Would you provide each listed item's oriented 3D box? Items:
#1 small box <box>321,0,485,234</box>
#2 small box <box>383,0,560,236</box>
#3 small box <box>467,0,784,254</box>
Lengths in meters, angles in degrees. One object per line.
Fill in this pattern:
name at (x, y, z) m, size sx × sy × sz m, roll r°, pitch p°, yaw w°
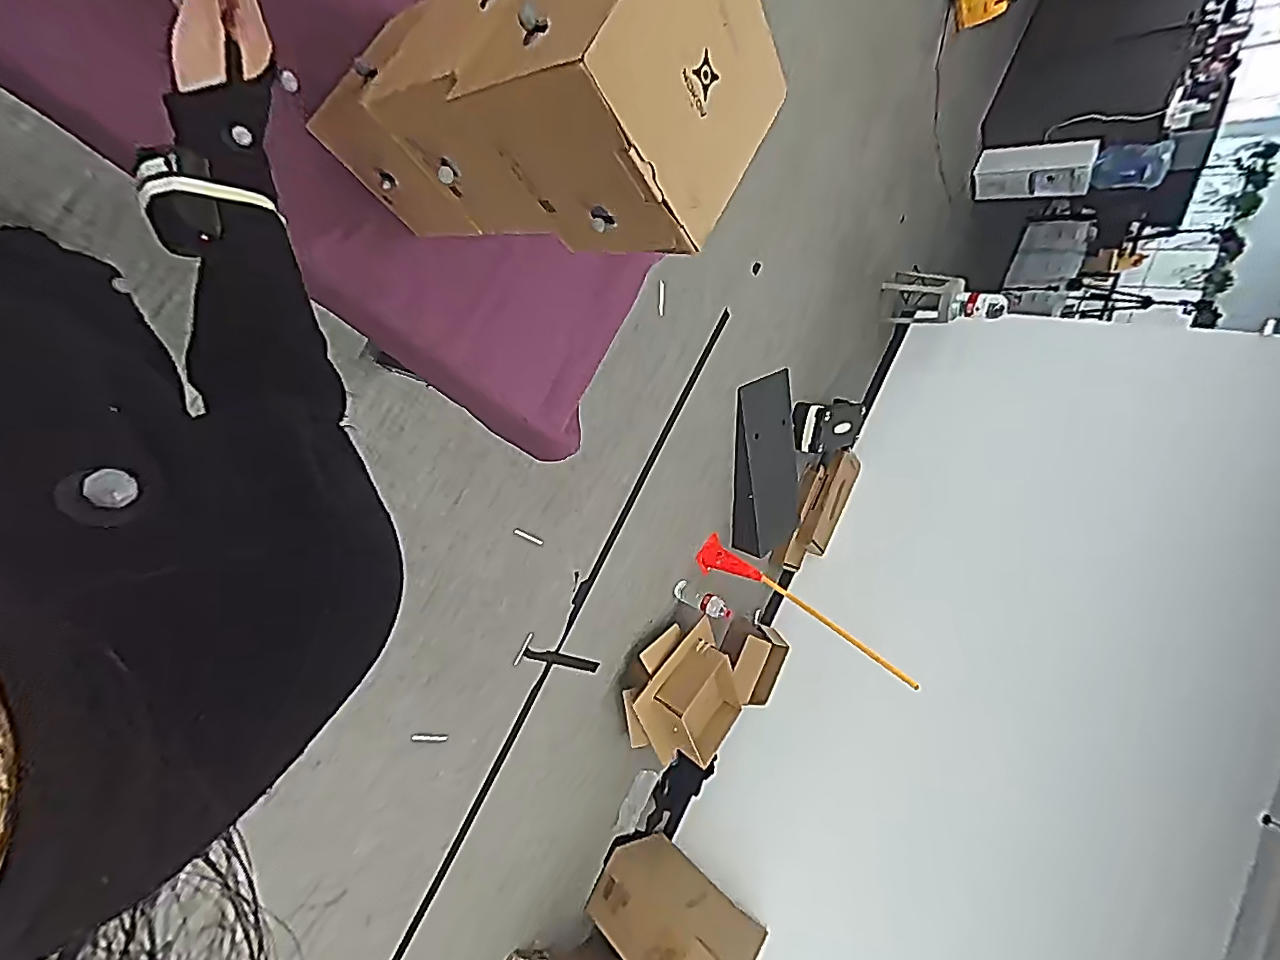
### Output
small box at (-0.246, -0.421, 0.650) m, size 0.168 × 0.176 × 0.179 m, roll 42°, pitch 73°, yaw -50°
small box at (-0.123, -0.378, 0.551) m, size 0.168 × 0.176 × 0.179 m, roll 41°, pitch 75°, yaw -49°
small box at (-0.013, -0.313, 0.448) m, size 0.168 × 0.176 × 0.179 m, roll 37°, pitch 77°, yaw -51°
